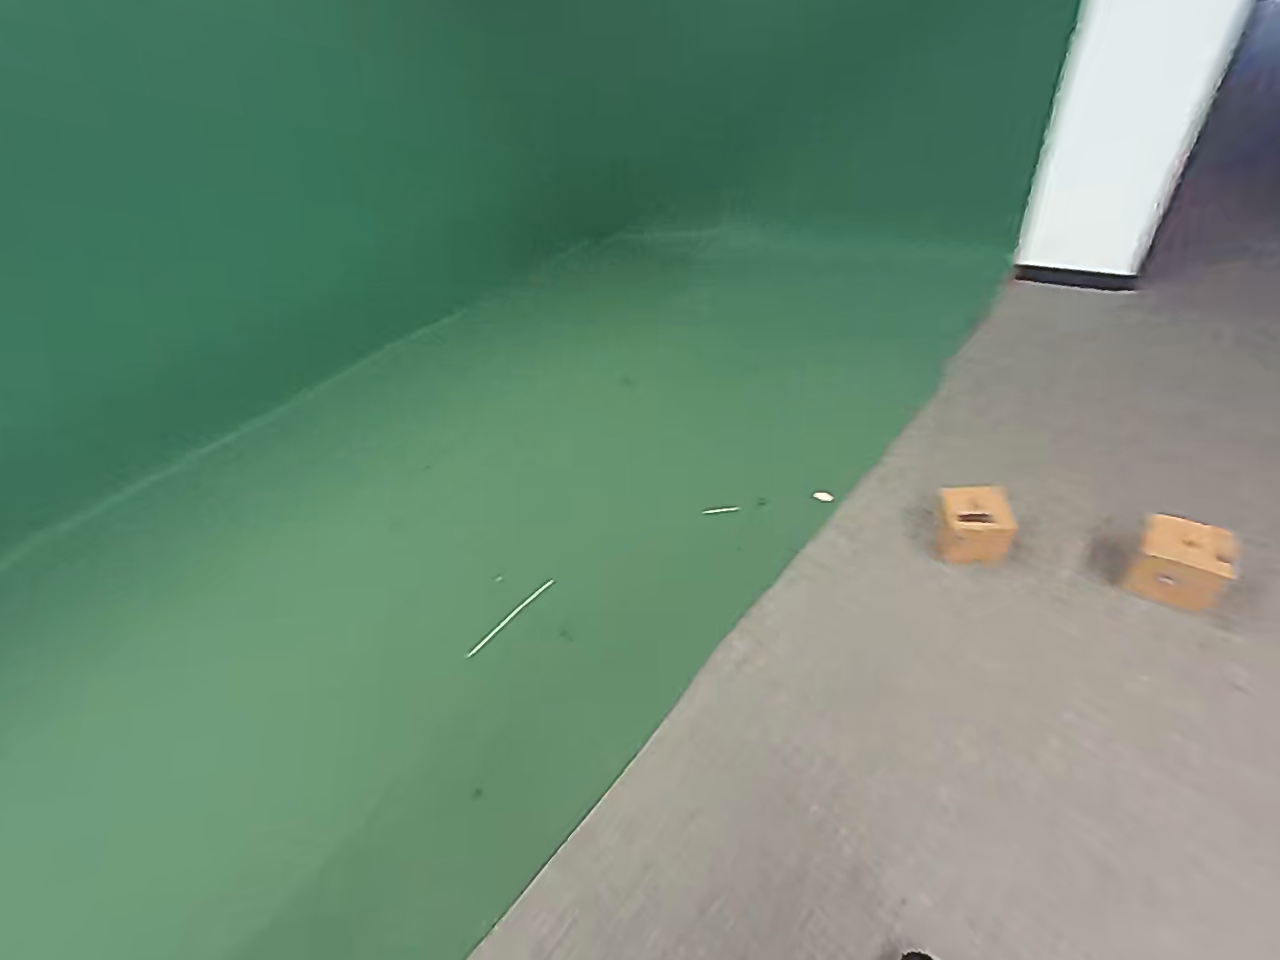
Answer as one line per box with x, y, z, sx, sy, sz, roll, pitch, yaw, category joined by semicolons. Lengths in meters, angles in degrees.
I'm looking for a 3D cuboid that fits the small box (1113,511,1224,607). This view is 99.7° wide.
1.435;0.217;1.475;0.179;0.176;0.168;19;53;33;small box
